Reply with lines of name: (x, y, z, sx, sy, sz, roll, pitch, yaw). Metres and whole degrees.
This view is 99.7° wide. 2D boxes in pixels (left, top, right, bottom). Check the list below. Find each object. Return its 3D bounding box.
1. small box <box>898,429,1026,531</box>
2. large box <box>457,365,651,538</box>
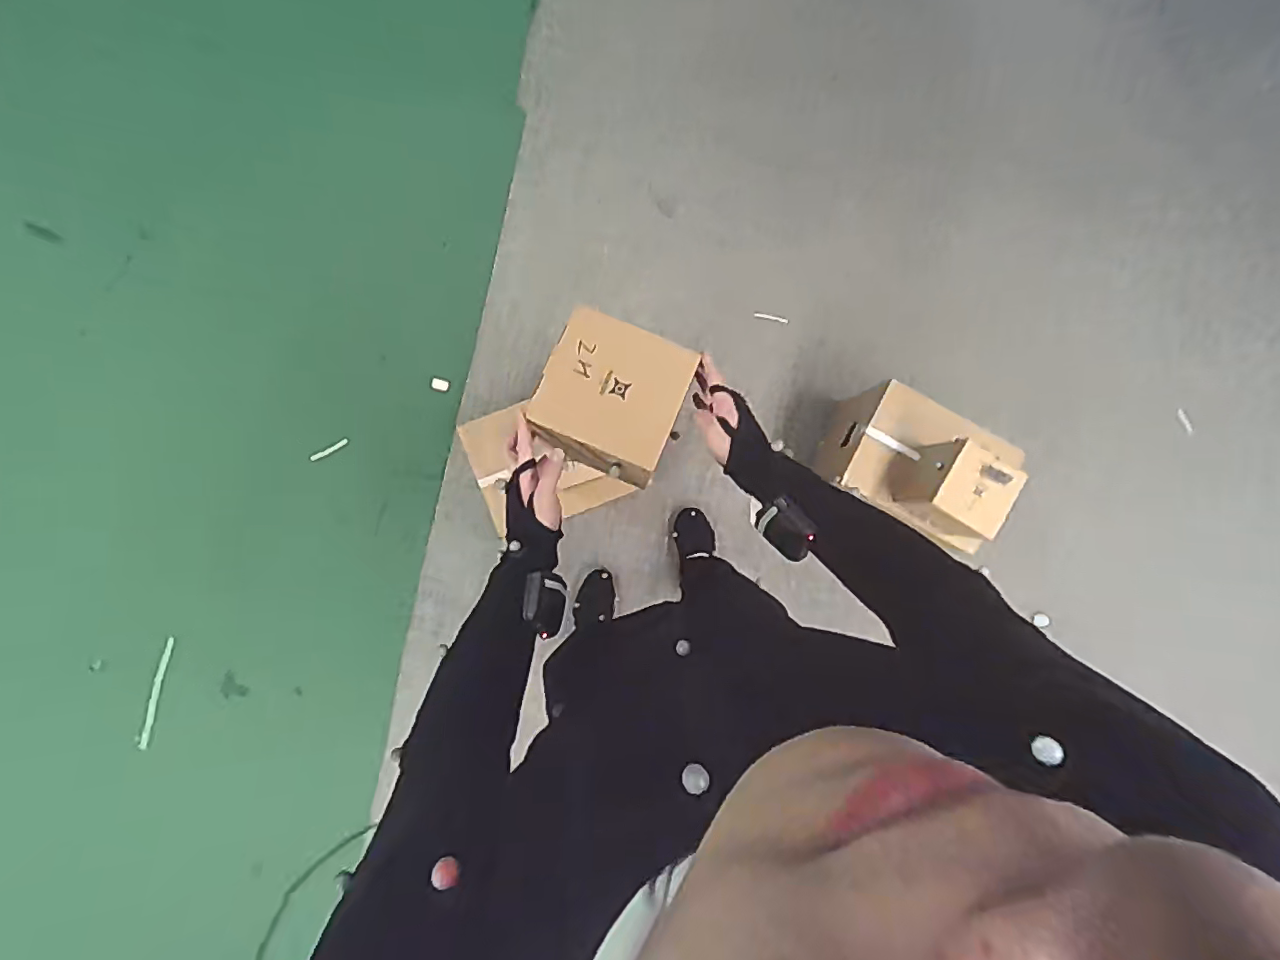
small box: (0.756, 0.001, 1.292, 0.168, 0.176, 0.179, 31, 88, -2)
large box: (-0.217, -0.069, 1.482, 0.408, 0.320, 0.320, -23, 88, -3)
